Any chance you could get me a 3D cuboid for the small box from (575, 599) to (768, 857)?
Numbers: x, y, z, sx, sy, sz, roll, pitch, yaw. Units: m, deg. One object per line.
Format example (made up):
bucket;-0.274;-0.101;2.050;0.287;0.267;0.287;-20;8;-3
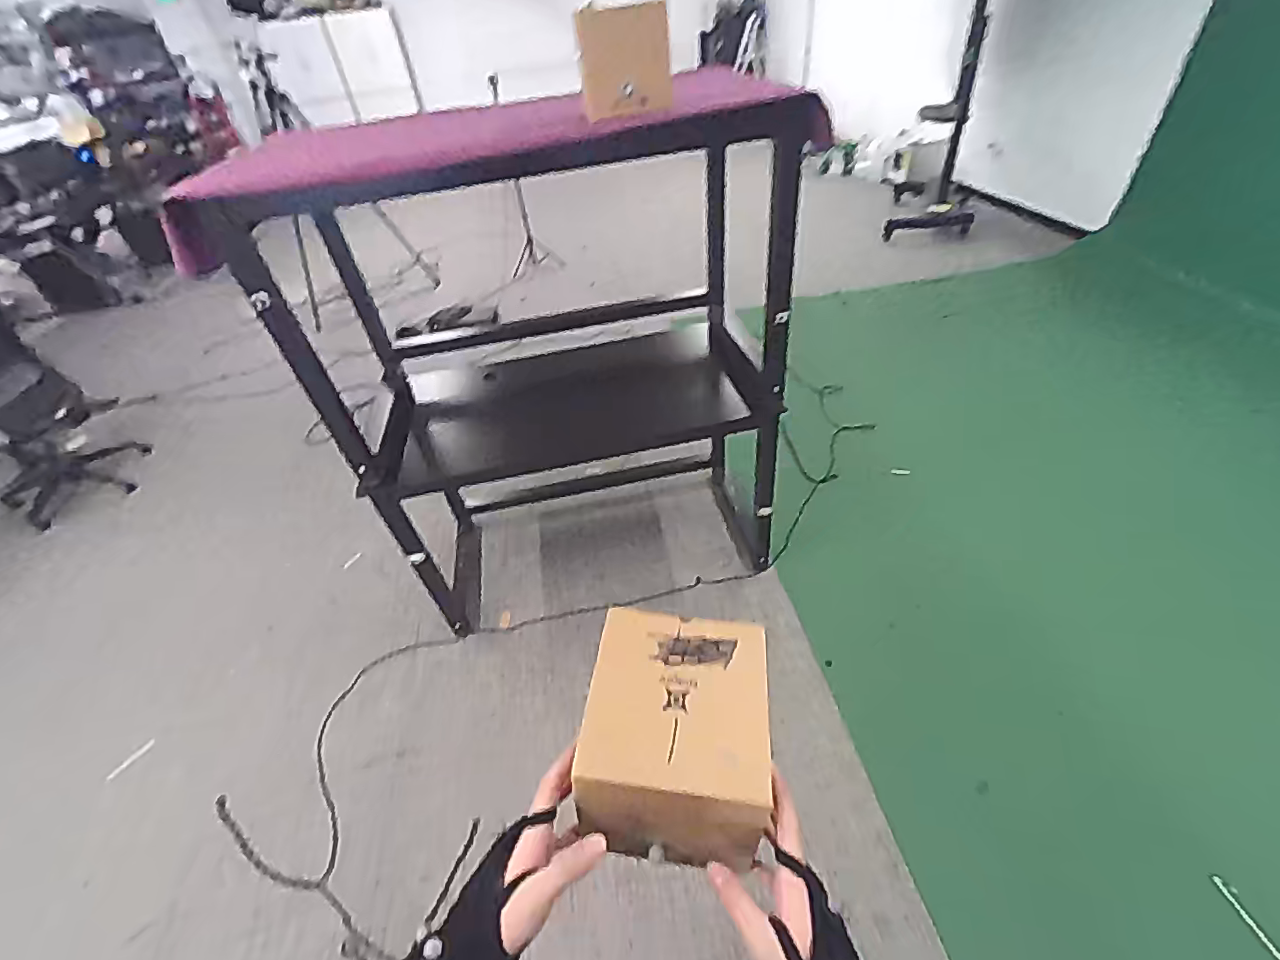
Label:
small box;0.034;0.252;0.561;0.168;0.176;0.179;4;38;6
